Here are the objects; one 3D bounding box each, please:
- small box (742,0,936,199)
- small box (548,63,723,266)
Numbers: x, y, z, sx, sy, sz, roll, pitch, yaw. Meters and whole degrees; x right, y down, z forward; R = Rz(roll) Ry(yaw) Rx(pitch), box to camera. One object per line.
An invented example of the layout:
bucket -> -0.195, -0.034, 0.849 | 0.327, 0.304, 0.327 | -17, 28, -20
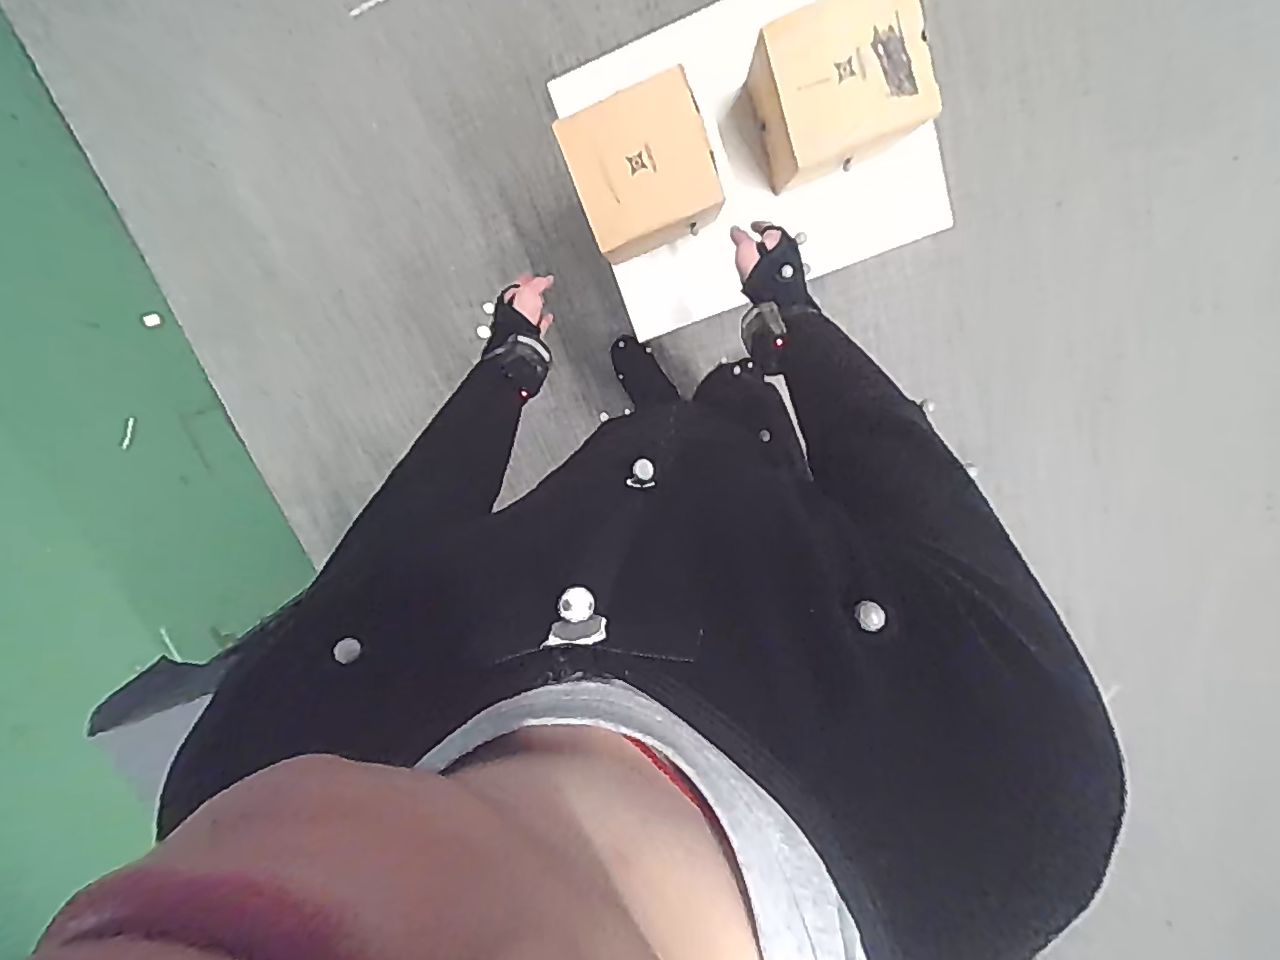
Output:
small box -> 0.246, -0.495, 0.705 | 0.179, 0.176, 0.168 | -18, 105, 8
small box -> -0.003, -0.411, 0.740 | 0.179, 0.176, 0.168 | -21, 103, 8
